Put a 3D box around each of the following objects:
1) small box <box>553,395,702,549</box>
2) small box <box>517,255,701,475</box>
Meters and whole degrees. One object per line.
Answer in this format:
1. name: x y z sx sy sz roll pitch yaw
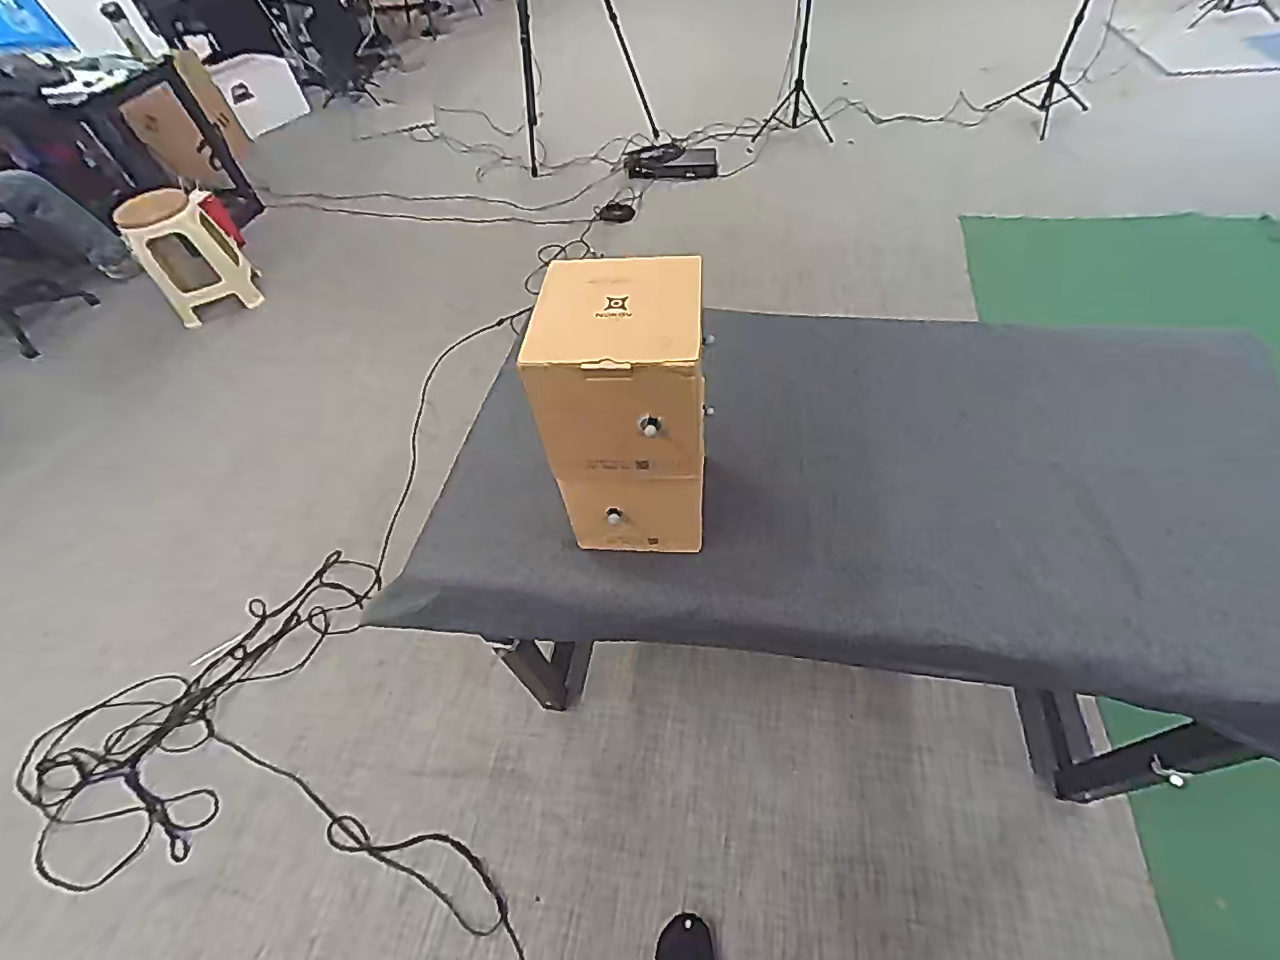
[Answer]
1. small box: -0.004 -0.023 0.717 0.168 0.176 0.179 2 52 7
2. small box: -0.018 -0.120 0.588 0.168 0.176 0.179 2 51 5
